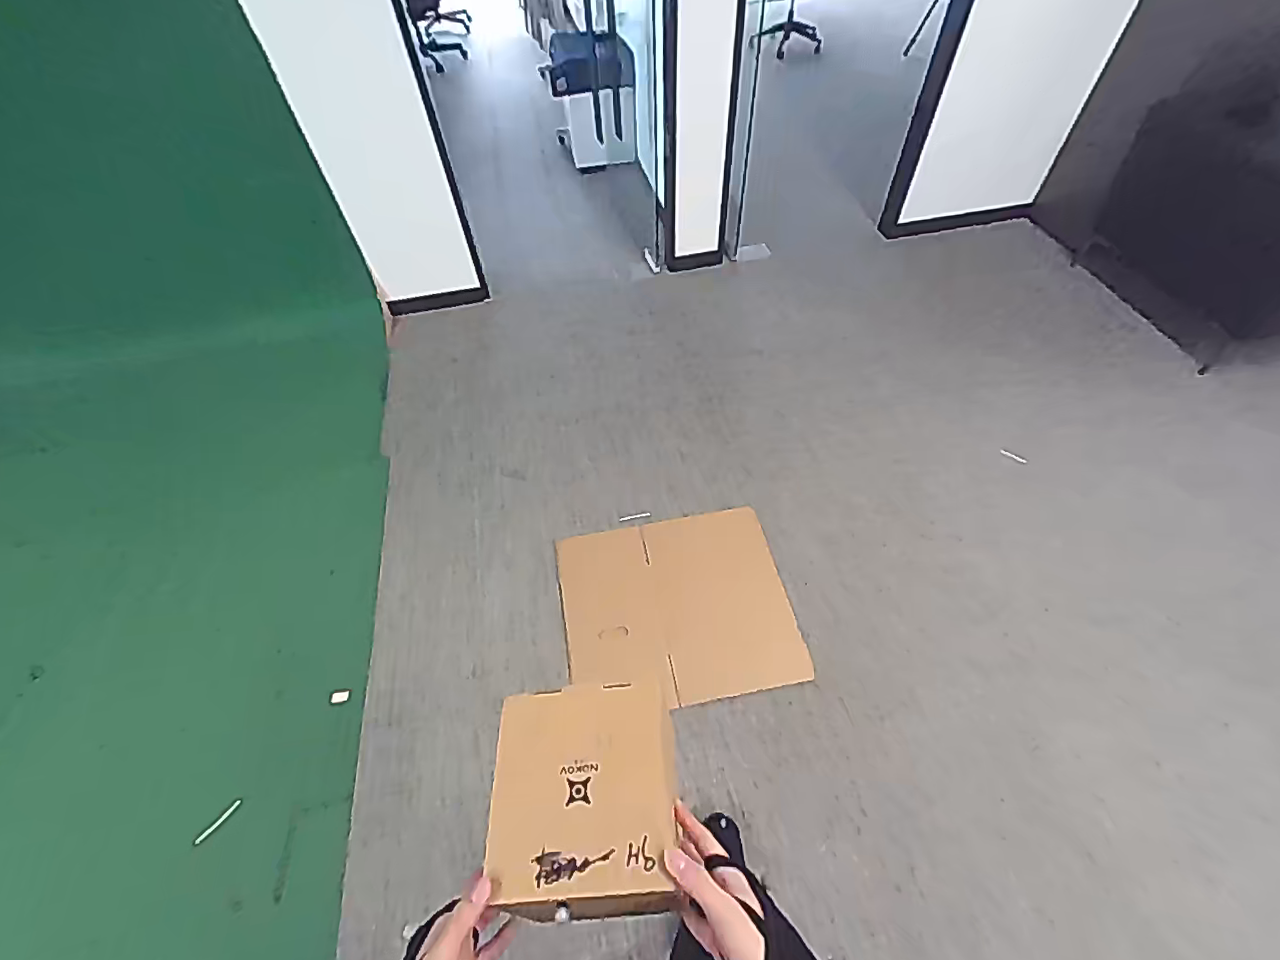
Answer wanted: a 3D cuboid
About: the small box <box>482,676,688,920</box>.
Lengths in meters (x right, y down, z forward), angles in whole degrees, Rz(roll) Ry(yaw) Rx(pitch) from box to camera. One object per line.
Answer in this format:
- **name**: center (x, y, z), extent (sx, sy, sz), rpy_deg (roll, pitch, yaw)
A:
- **small box**: center (-0.044, 0.327, 0.556), extent (0.168, 0.176, 0.179), rpy_deg (-8, 46, 4)
